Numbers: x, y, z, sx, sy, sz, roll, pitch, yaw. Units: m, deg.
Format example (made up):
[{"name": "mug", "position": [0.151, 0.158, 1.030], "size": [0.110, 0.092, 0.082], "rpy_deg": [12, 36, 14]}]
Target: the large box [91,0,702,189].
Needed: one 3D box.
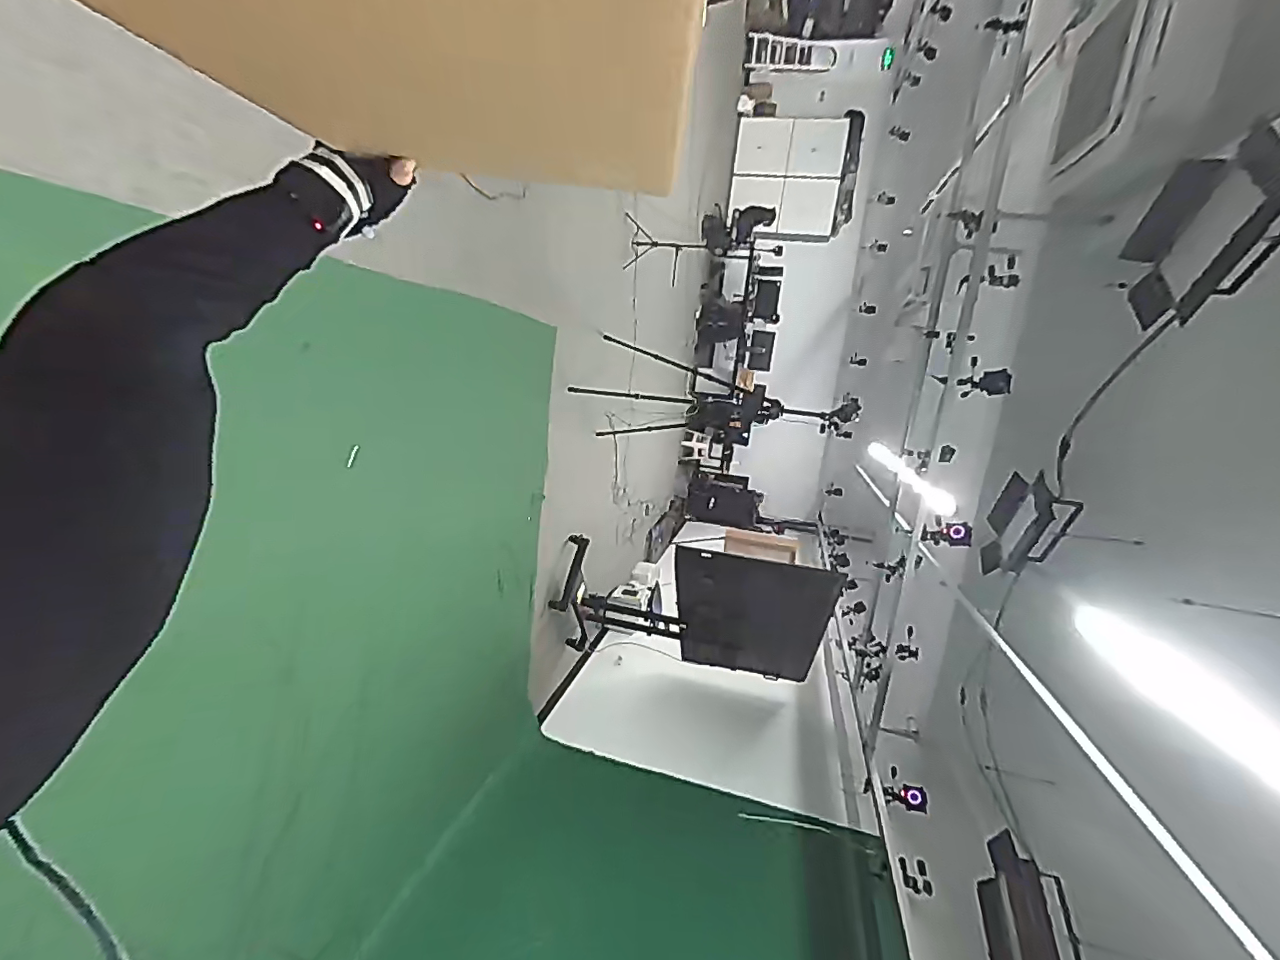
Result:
[{"name": "large box", "position": [-0.111, -0.384, 0.289], "size": [0.408, 0.320, 0.320], "rpy_deg": [-92, -171, -74]}]
